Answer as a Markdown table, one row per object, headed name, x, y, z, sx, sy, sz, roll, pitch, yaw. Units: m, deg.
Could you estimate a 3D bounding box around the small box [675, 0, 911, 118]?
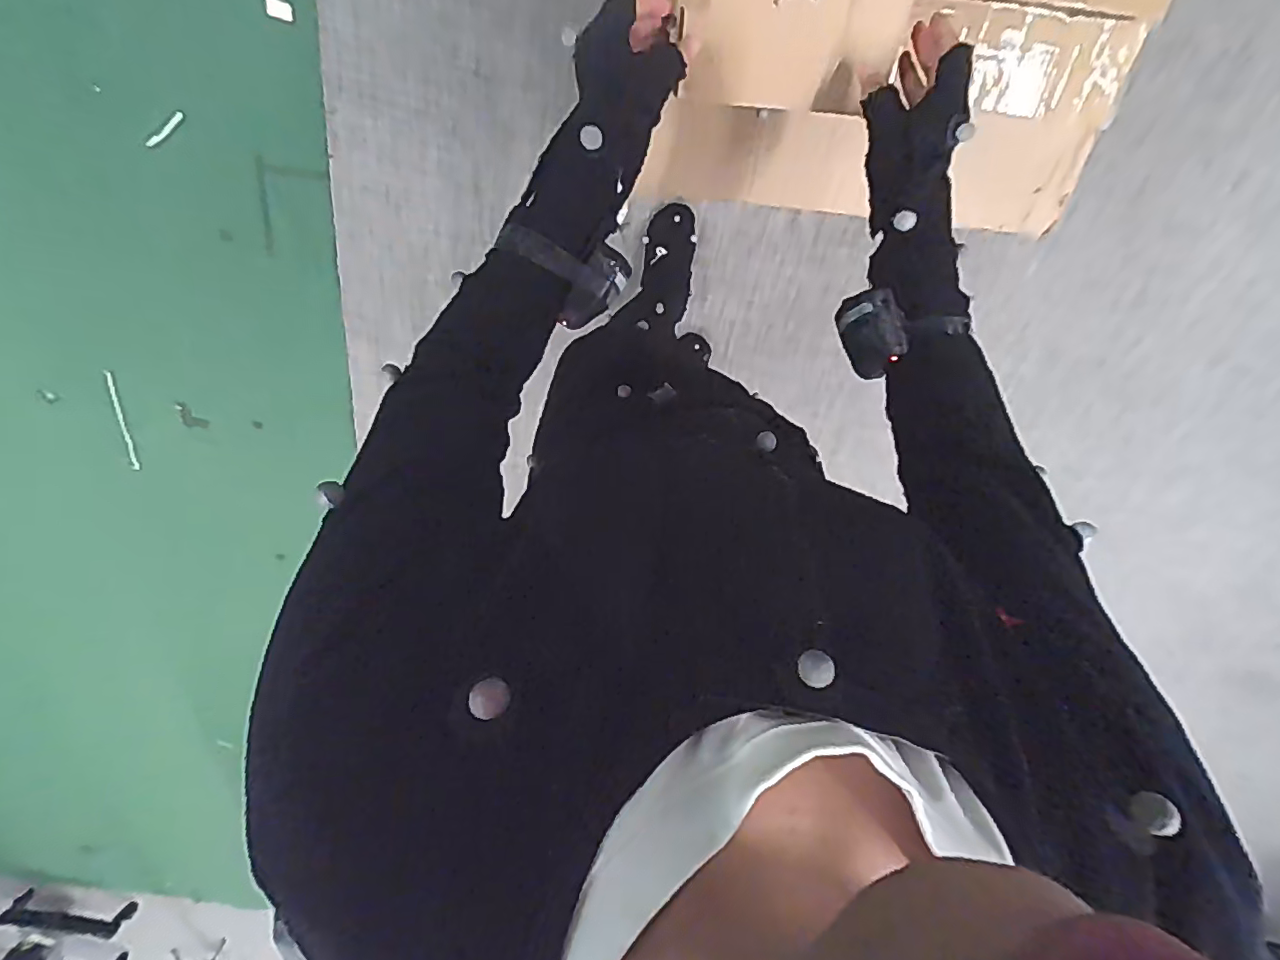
| name | x | y | z | sx | sy | sz | roll | pitch | yaw |
| --- | --- | --- | --- | --- | --- | --- | --- | --- | --- |
| small box | 0.124 | -0.429 | 0.464 | 0.179 | 0.176 | 0.168 | 3 | 134 | -1 |
